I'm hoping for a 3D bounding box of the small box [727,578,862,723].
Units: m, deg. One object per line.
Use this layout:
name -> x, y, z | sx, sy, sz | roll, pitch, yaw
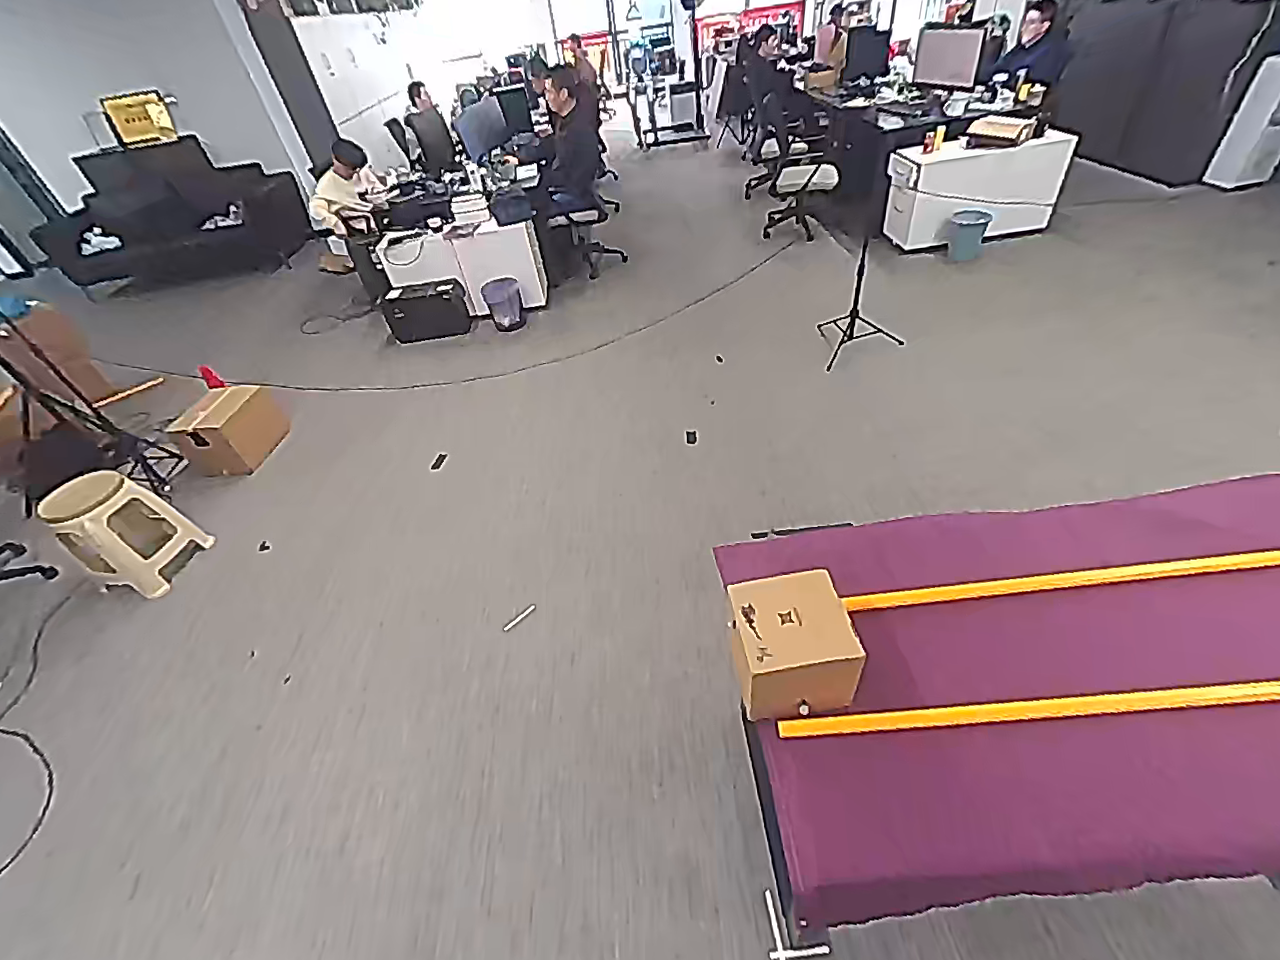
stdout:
small box -> 0.250, 0.293, 0.924 | 0.179, 0.176, 0.168 | -9, 42, 0
